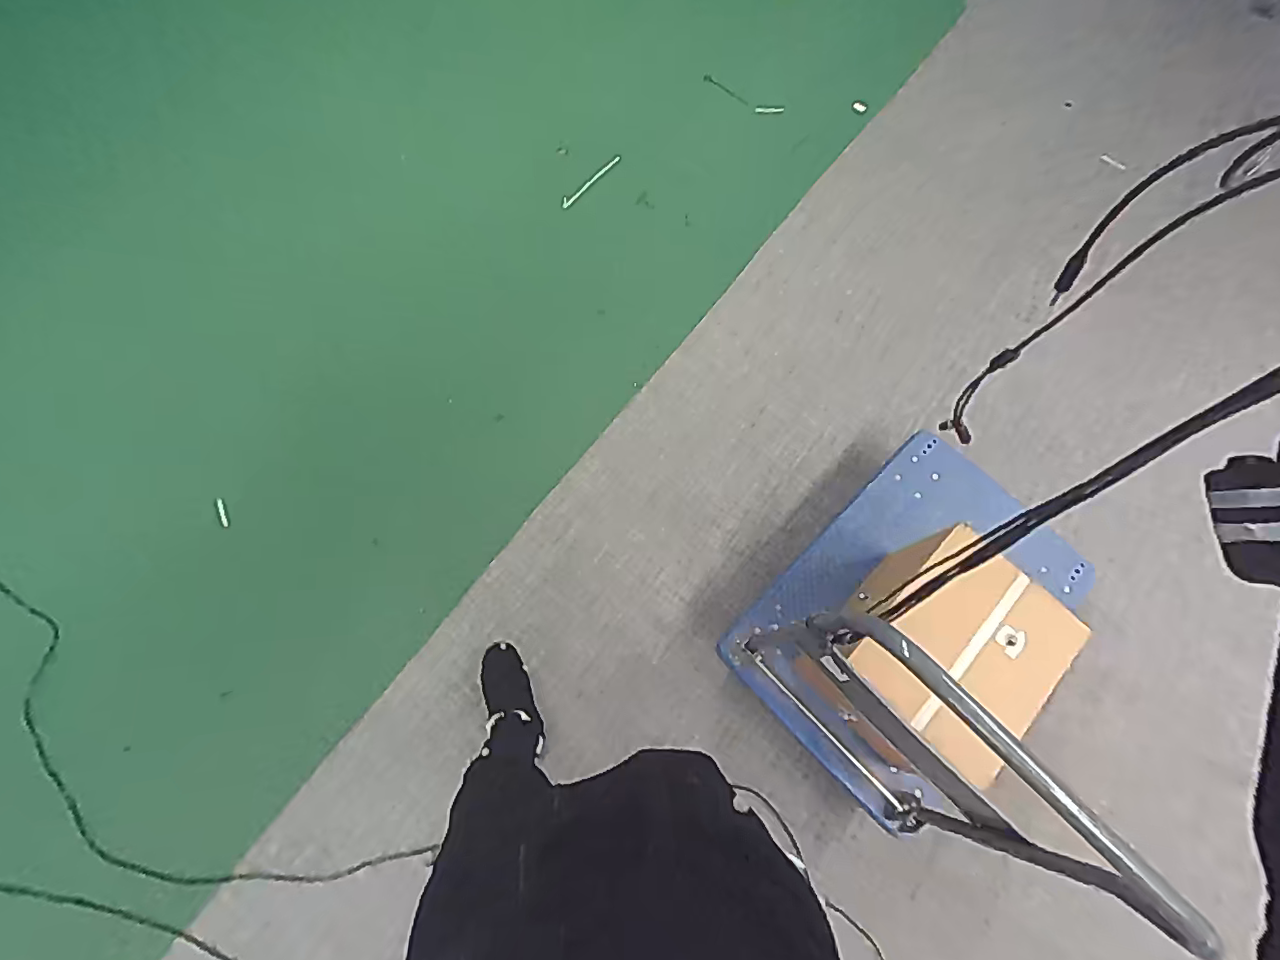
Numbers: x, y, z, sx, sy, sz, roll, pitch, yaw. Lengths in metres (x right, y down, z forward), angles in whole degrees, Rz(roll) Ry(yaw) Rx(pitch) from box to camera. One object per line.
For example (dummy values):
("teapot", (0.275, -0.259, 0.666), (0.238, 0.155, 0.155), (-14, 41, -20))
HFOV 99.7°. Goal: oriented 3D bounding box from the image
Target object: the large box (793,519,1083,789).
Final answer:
("large box", (0.606, 0.361, 1.161), (0.408, 0.320, 0.320), (-42, 78, -16))
